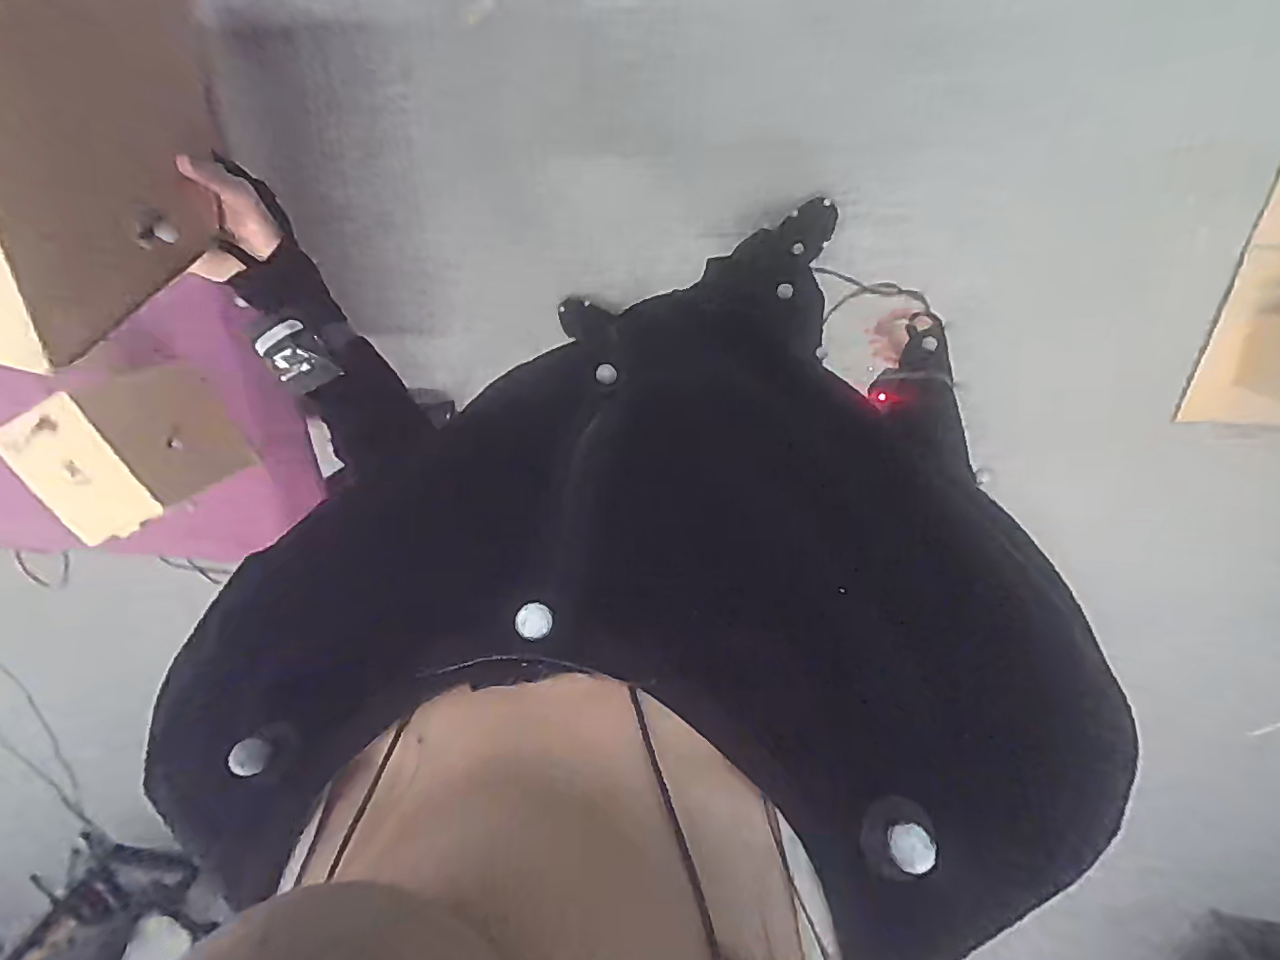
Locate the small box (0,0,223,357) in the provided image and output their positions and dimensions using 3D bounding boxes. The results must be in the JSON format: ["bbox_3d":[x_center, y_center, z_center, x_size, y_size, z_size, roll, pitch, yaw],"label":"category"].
[{"bbox_3d":[-0.337,-0.197,0.256,0.168,0.179,0.176,17,134,-18],"label":"small box"}]

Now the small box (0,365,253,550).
[{"bbox_3d":[-0.702,-0.036,0.754,0.168,0.176,0.179,-20,111,16],"label":"small box"}]
